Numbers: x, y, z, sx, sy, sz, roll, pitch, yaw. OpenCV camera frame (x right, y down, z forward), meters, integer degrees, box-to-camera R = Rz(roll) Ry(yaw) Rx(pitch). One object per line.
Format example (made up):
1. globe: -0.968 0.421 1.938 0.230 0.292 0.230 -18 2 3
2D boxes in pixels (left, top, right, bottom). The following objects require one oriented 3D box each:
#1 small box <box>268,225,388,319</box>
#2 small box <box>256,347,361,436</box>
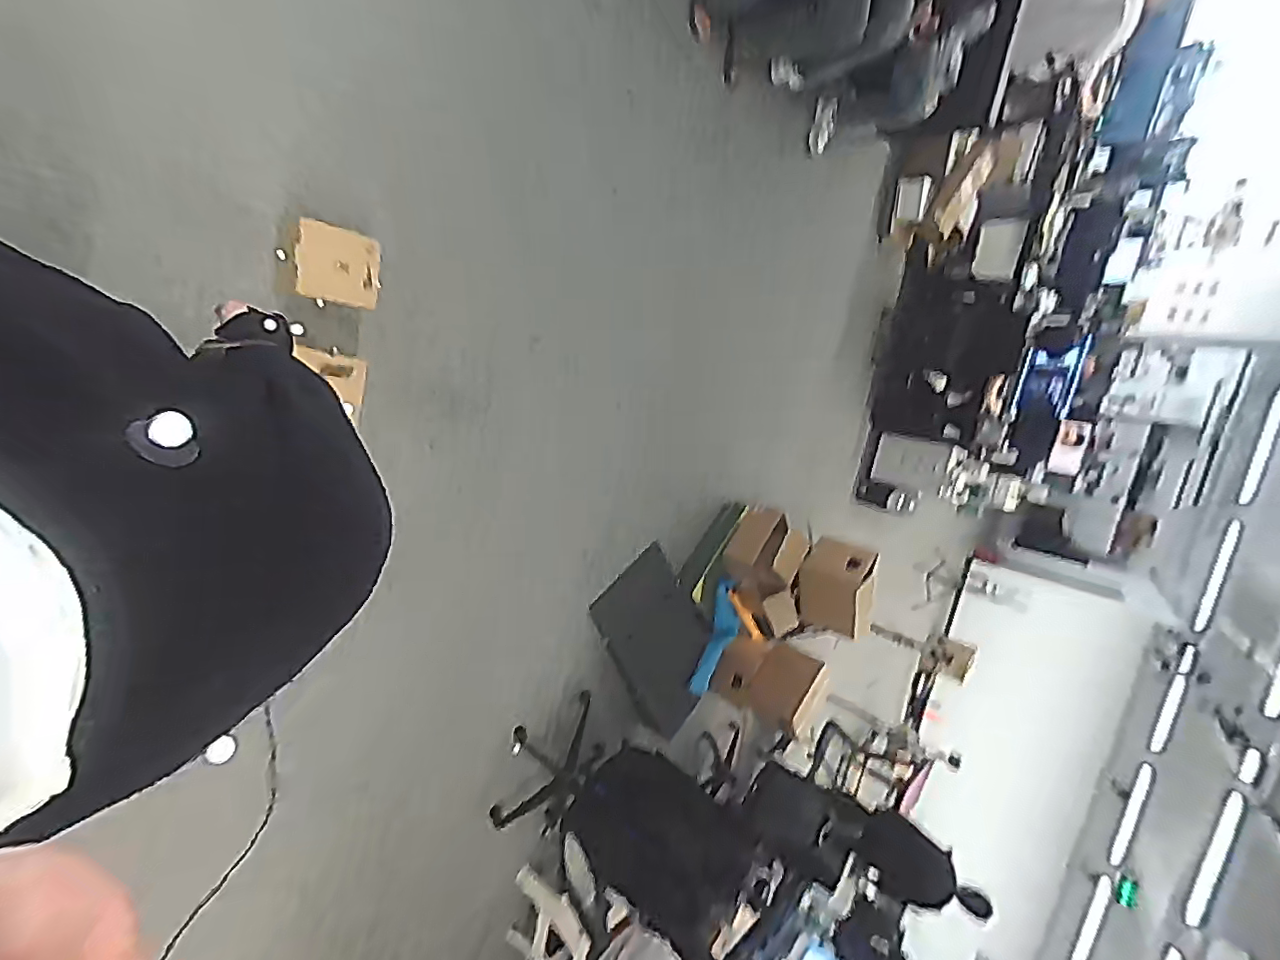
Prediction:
1. small box: -0.755 -0.498 1.306 0.168 0.176 0.179 -38 128 -37
2. small box: -0.821 -0.220 1.335 0.168 0.176 0.179 12 94 -48
